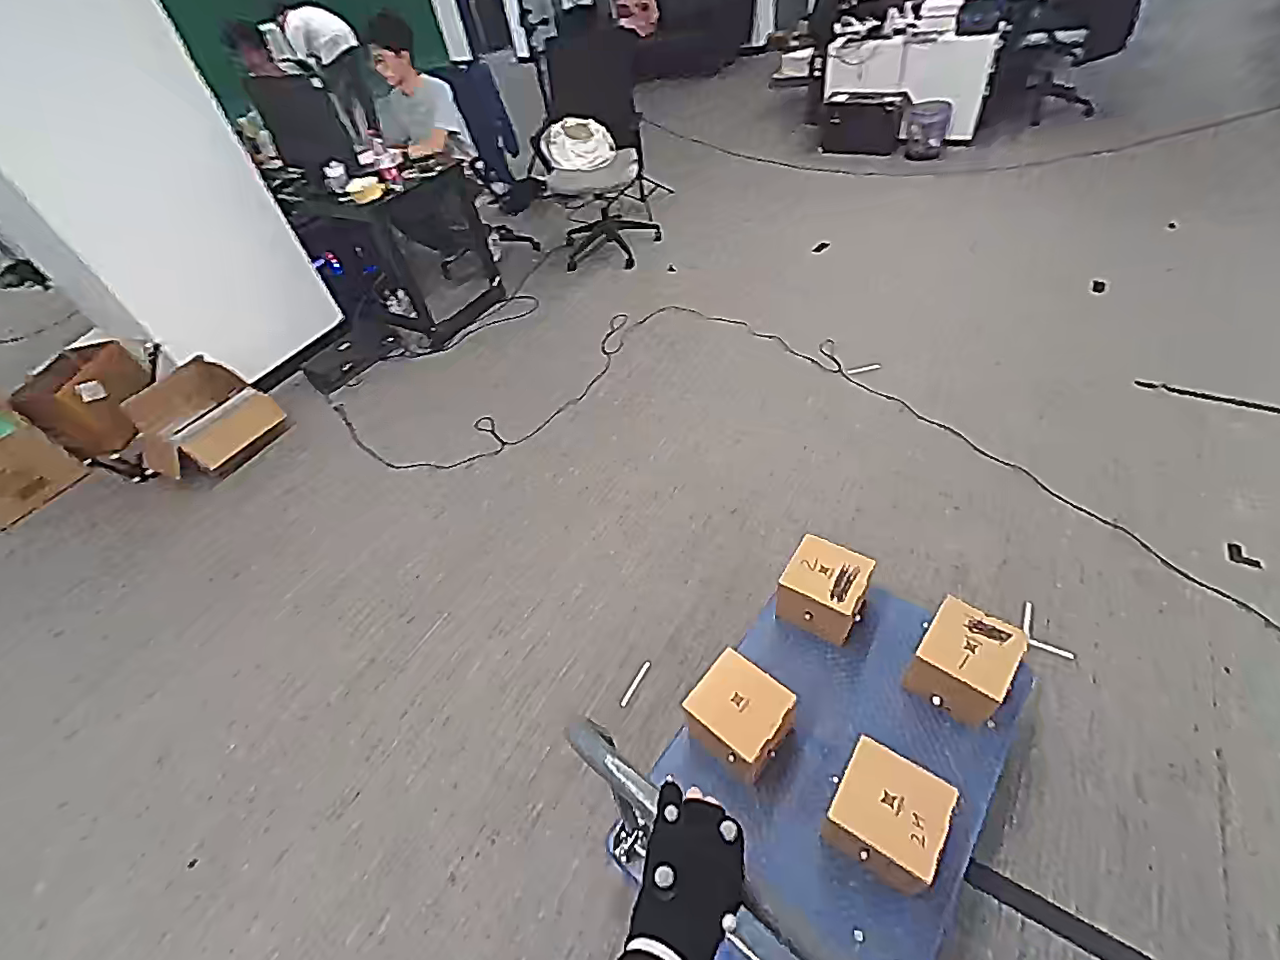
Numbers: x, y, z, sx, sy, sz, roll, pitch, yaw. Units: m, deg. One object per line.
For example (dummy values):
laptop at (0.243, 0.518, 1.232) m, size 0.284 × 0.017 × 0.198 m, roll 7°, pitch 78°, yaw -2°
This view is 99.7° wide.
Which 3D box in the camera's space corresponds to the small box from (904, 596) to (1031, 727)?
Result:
small box at (0.696, 0.393, 1.168) m, size 0.168 × 0.176 × 0.179 m, roll 29°, pitch 60°, yaw 31°

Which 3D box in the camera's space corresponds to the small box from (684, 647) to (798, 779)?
small box at (0.213, 0.503, 1.160) m, size 0.179 × 0.176 × 0.168 m, roll 31°, pitch 59°, yaw 30°

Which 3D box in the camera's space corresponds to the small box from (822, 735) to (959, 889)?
small box at (0.455, 0.620, 1.006) m, size 0.179 × 0.176 × 0.168 m, roll 24°, pitch 57°, yaw 29°
